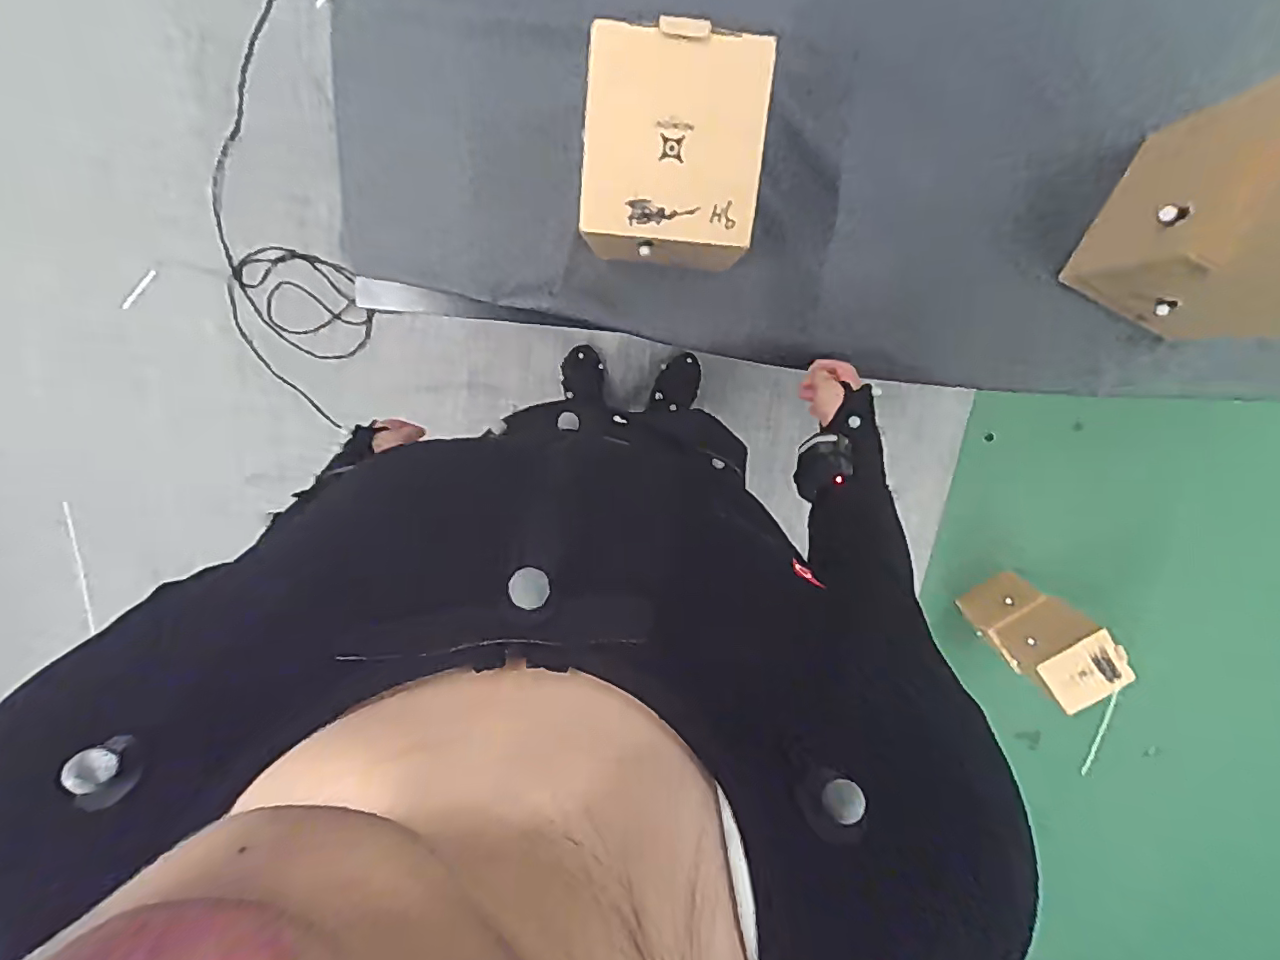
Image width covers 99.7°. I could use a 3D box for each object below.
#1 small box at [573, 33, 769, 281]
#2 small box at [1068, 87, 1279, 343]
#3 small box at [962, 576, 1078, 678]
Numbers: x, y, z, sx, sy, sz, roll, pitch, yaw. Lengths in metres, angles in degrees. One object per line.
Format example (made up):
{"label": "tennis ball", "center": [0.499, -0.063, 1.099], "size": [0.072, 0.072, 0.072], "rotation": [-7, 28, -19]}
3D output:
{"label": "small box", "center": [0.028, -0.321, 0.573], "size": [0.168, 0.176, 0.179], "rotation": [6, 104, 1]}
{"label": "small box", "center": [0.606, -0.254, 0.562], "size": [0.168, 0.176, 0.179], "rotation": [26, 102, -5]}
{"label": "small box", "center": [1.025, 0.397, 1.481], "size": [0.179, 0.176, 0.168], "rotation": [-37, 100, 10]}
